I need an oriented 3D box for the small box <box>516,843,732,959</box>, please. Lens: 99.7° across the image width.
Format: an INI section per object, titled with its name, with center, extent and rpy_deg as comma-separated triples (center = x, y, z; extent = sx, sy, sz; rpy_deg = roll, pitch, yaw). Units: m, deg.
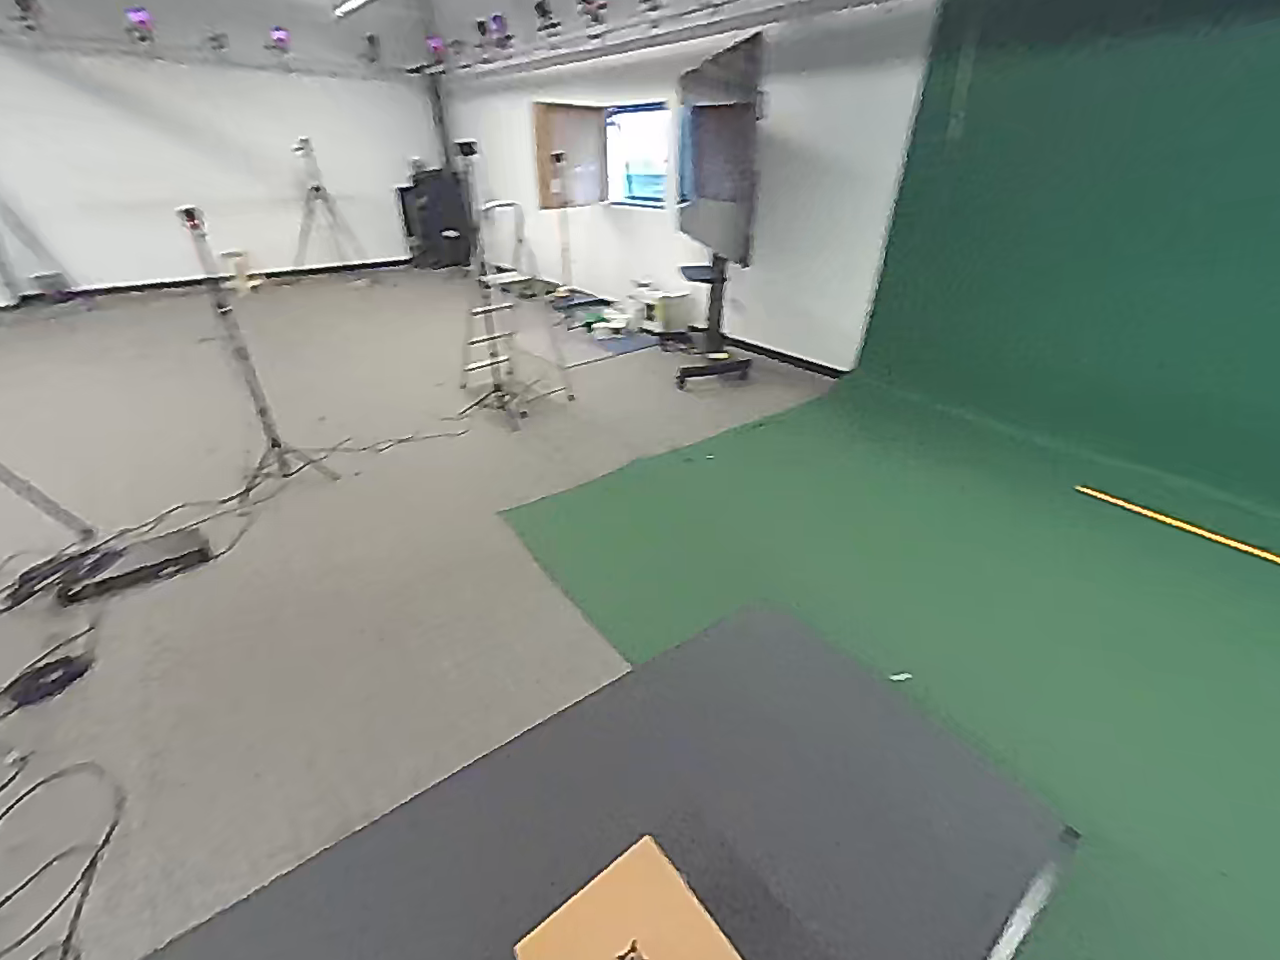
[small box]
center = -0.006, 0.530, 0.541
extent = 0.168, 0.176, 0.179
rpy_deg = -22, 37, -32
